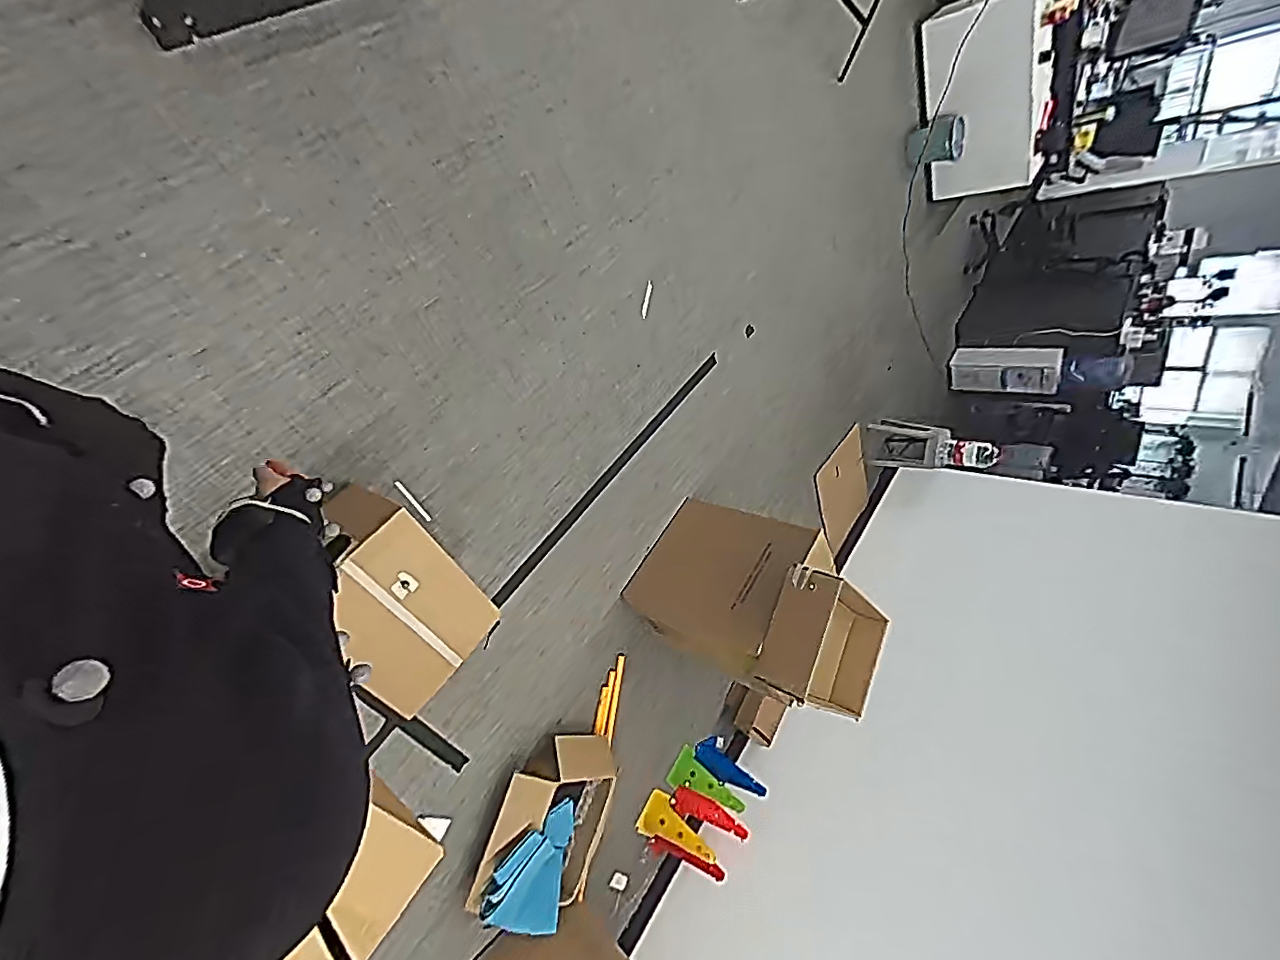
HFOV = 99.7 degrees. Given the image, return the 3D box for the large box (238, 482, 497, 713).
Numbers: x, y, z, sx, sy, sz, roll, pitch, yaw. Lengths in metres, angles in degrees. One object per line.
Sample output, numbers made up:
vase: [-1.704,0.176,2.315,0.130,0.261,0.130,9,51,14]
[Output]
large box: [-0.627,0.267,1.279,0.320,0.320,0.408,-50,131,-27]
